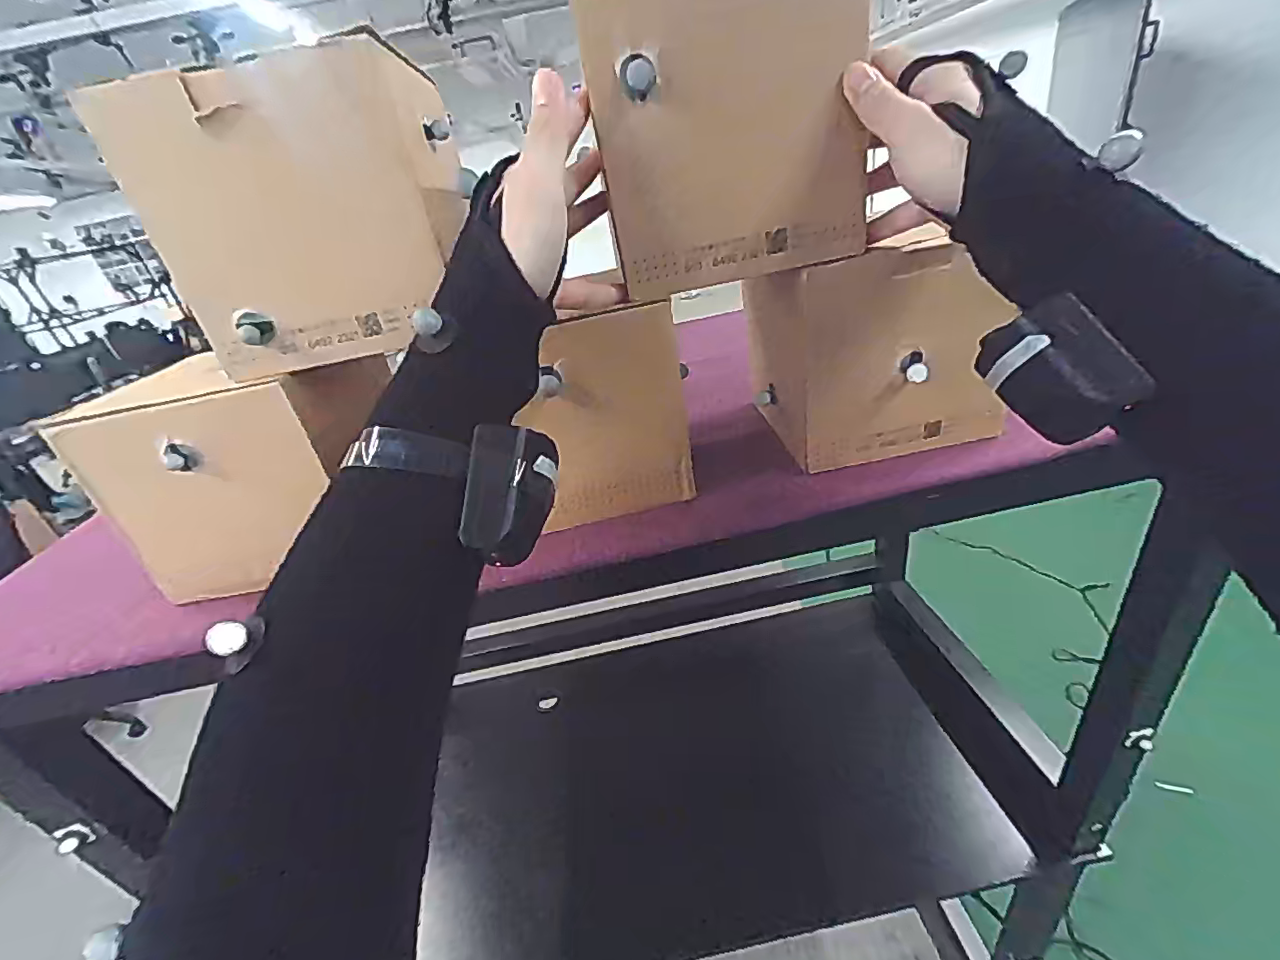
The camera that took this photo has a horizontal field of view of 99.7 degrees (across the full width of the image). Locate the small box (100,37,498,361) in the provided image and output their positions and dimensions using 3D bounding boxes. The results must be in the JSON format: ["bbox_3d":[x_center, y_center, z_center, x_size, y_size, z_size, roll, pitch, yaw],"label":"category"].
[{"bbox_3d":[-0.219,-0.199,0.414,0.168,0.176,0.179,-12,28,0],"label":"small box"}]

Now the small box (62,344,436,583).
[{"bbox_3d":[-0.313,-0.027,0.482,0.179,0.176,0.168,-9,29,2],"label":"small box"}]
